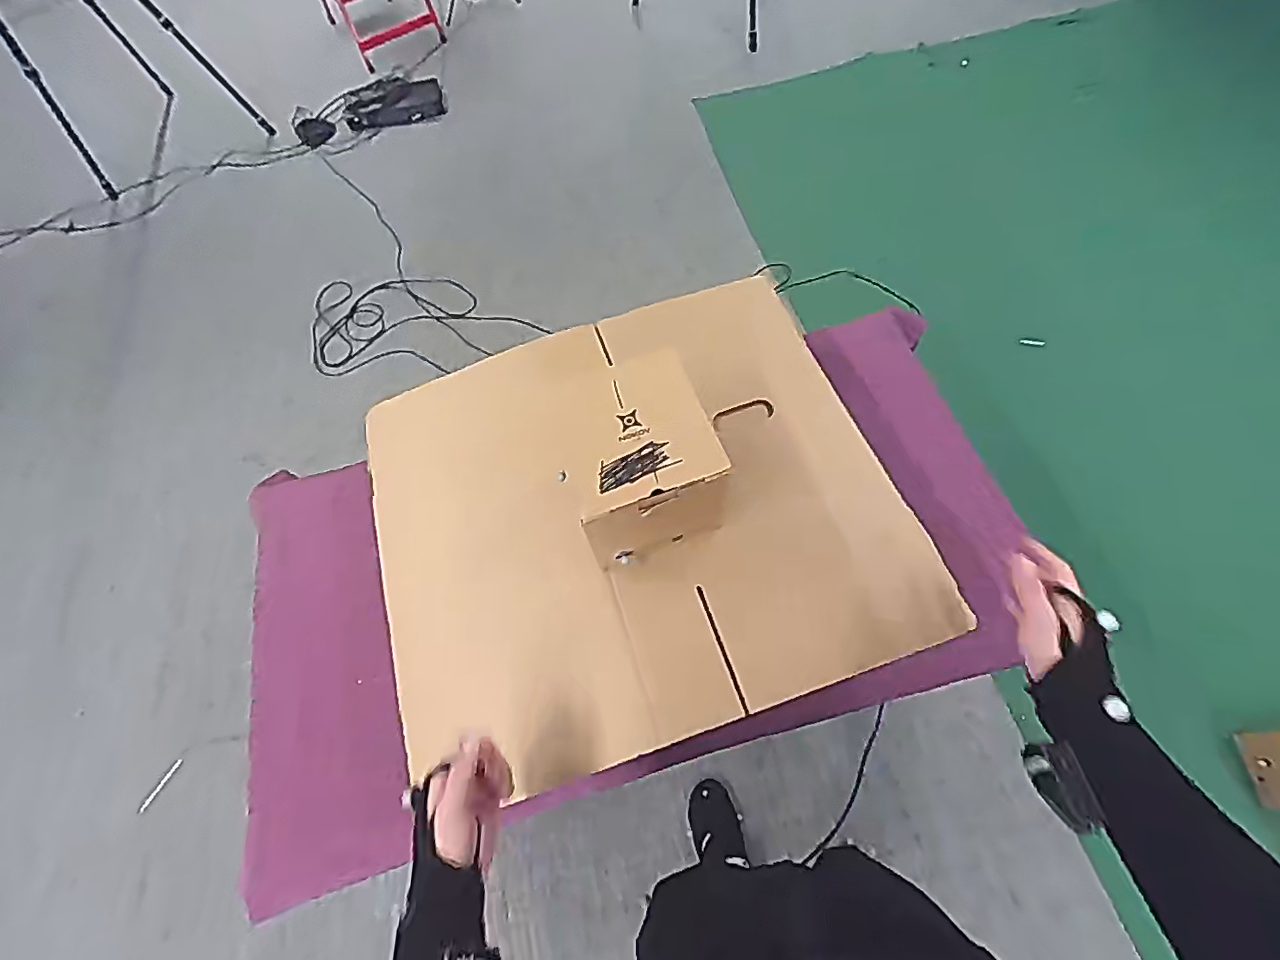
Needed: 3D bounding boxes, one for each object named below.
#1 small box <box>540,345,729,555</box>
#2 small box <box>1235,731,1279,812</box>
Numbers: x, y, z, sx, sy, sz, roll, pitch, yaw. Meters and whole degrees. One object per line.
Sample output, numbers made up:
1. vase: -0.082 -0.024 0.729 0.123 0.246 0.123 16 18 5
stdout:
1. small box: -0.005 -0.024 0.649 0.168 0.176 0.179 -18 64 -6
2. small box: 1.515 0.650 1.198 0.179 0.176 0.168 -3 64 5
